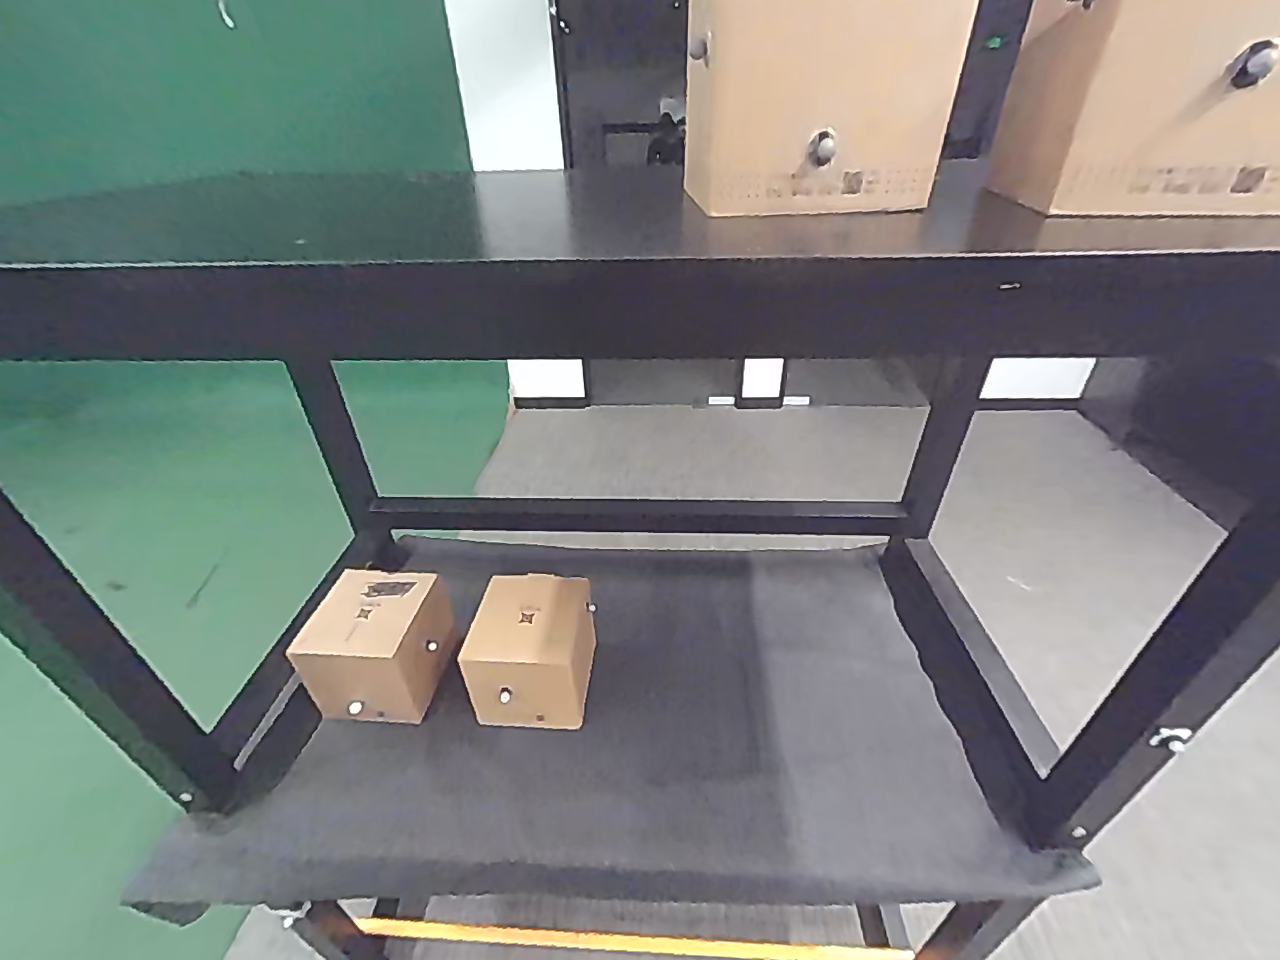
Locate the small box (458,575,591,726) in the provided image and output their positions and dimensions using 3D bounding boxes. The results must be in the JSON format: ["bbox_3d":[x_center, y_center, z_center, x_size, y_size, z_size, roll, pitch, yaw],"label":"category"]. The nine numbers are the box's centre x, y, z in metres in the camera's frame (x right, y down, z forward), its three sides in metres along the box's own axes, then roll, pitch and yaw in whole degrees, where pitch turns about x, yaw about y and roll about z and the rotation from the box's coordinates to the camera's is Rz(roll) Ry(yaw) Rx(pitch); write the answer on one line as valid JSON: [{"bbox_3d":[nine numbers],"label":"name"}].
[{"bbox_3d":[-0.174,0.278,0.884,0.168,0.176,0.179,1,34,4],"label":"small box"}]

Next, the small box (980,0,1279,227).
[{"bbox_3d":[0.372,-0.281,0.380,0.168,0.176,0.179,7,35,12],"label":"small box"}]

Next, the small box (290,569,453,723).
[{"bbox_3d":[-0.427,0.272,0.897,0.168,0.176,0.179,1,35,4],"label":"small box"}]
